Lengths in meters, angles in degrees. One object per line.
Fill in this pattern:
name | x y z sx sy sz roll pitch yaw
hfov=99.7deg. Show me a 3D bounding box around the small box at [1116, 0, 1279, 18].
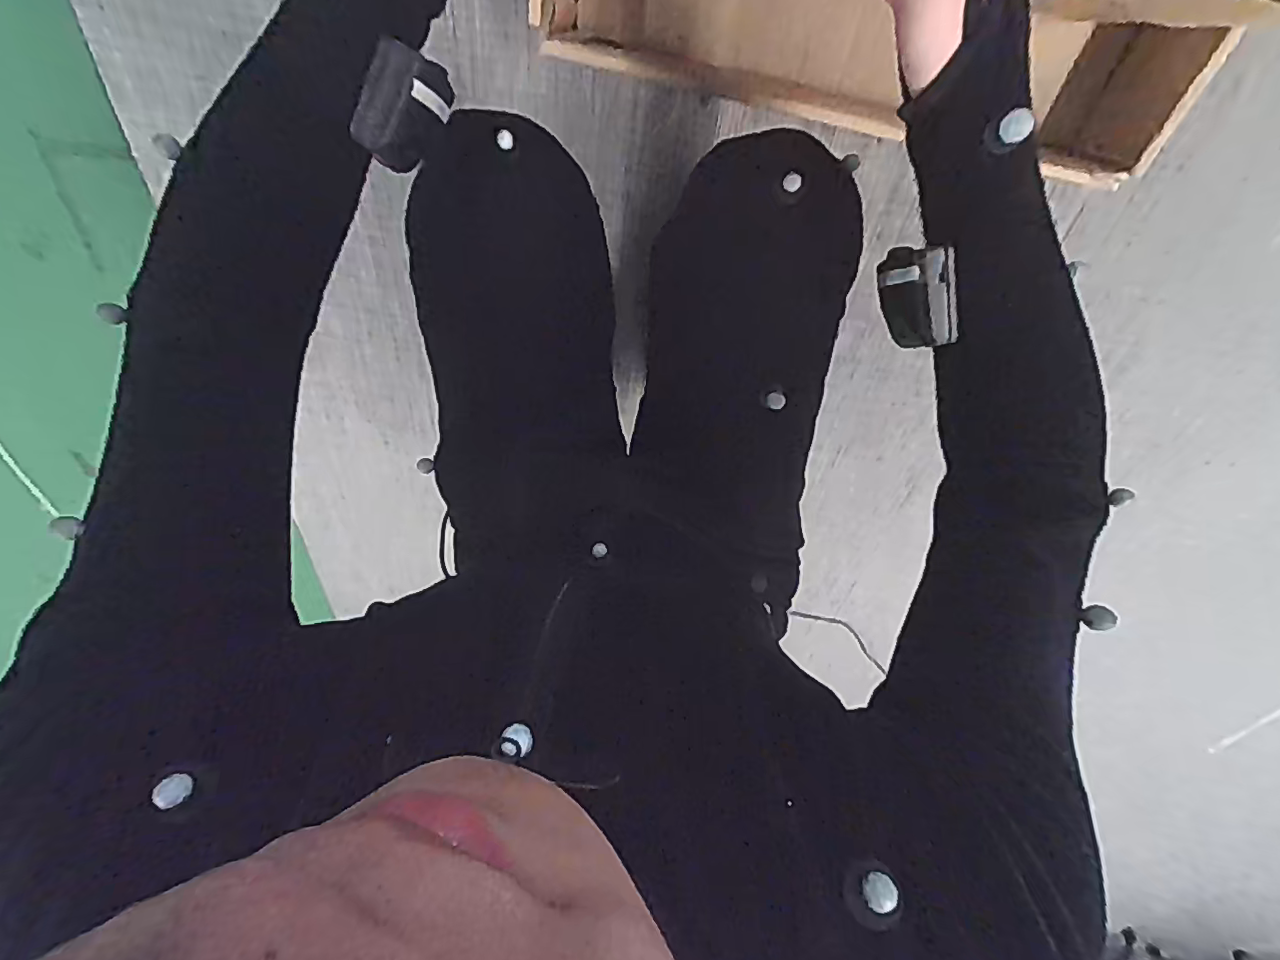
small box | 0.362 -0.402 0.316 0.168 0.176 0.179 14 129 -3
